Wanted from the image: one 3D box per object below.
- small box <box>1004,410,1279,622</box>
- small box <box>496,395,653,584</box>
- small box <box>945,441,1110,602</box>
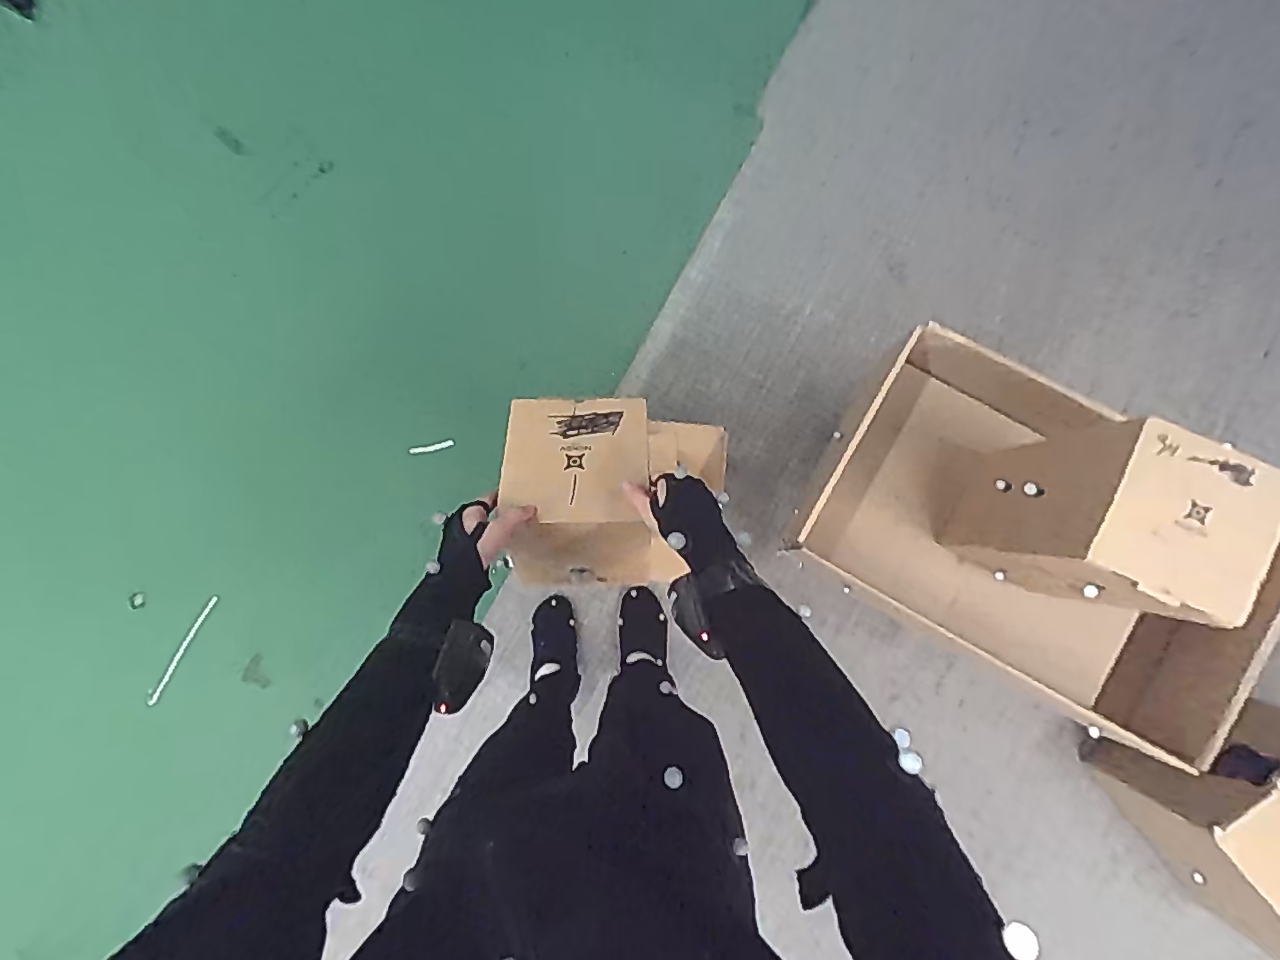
[{"bbox_3d":[0.584,0.042,0.650,0.168,0.176,0.179,26,88,6],"label":"small box"},{"bbox_3d":[-0.070,0.014,0.673,0.168,0.176,0.179,-1,55,0],"label":"small box"},{"bbox_3d":[0.600,0.057,0.812,0.168,0.176,0.179,28,88,6],"label":"small box"}]
